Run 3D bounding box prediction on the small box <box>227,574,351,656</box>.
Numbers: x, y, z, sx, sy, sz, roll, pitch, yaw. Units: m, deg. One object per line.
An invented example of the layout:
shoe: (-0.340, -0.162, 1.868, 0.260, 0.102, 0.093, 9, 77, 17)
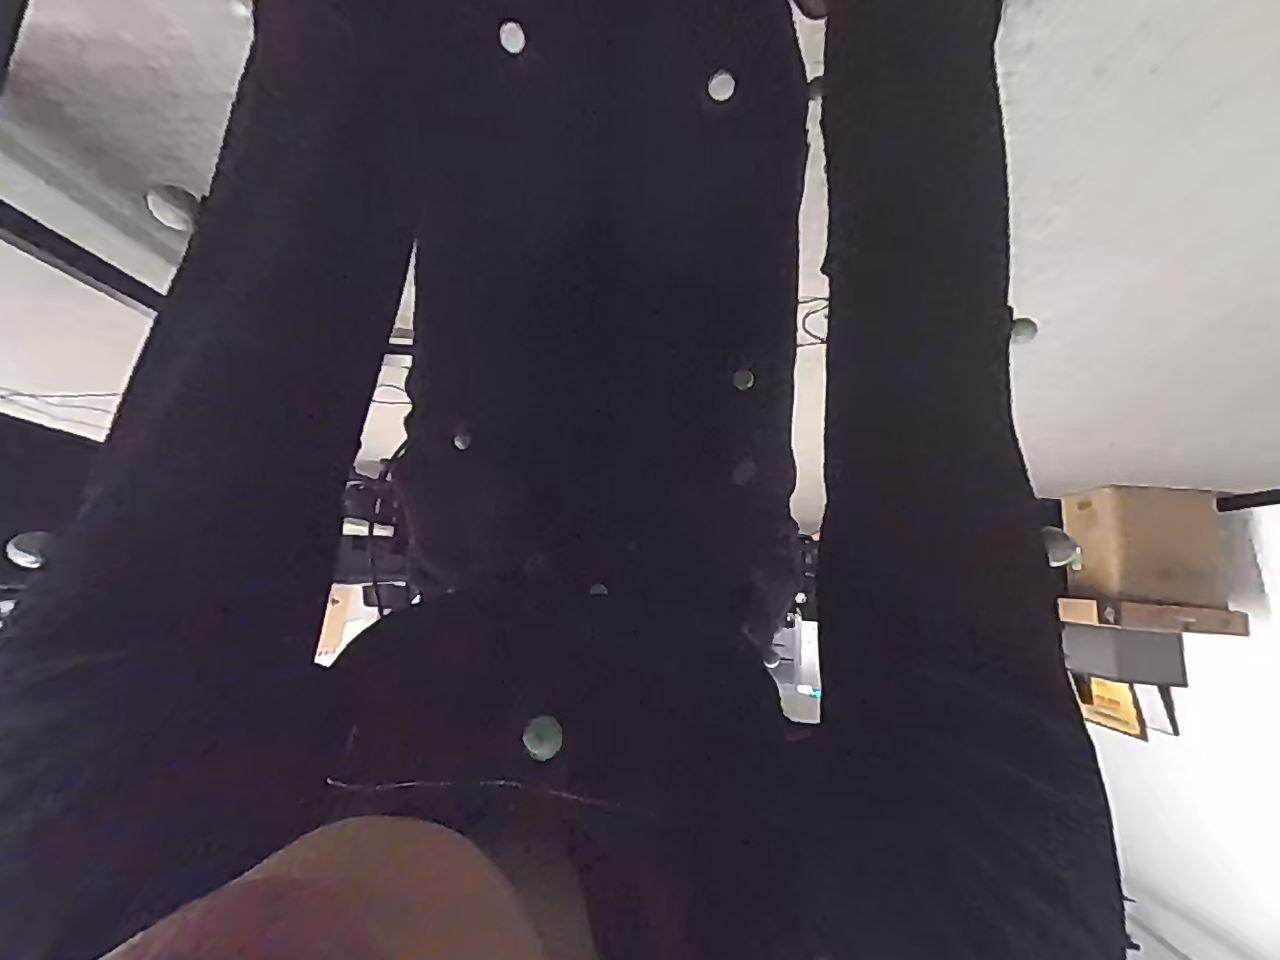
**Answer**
small box: (-0.827, 0.316, 1.293, 0.179, 0.176, 0.168, 5, 170, 1)
